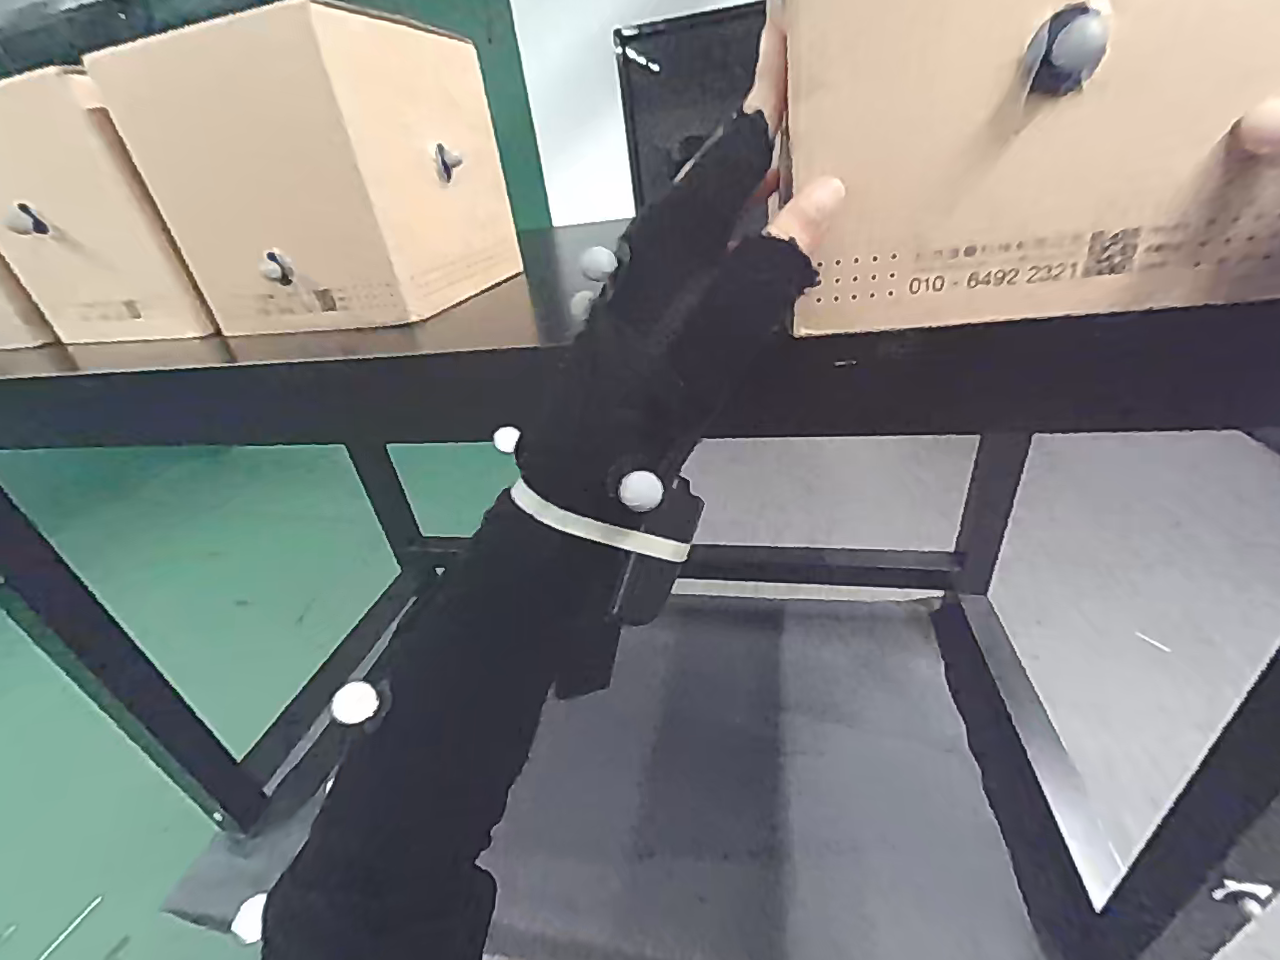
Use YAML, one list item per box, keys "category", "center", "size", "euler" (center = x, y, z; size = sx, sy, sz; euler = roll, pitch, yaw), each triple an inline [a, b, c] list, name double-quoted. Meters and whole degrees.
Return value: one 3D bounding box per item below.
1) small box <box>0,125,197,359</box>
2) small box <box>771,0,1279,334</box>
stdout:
- category: "small box"
  center: [-0.570, -0.220, 0.503]
  size: [0.168, 0.176, 0.179]
  euler: [0, 33, 12]
- category: "small box"
  center: [0.146, -0.165, 0.237]
  size: [0.168, 0.176, 0.179]
  euler: [-1, 29, 11]
